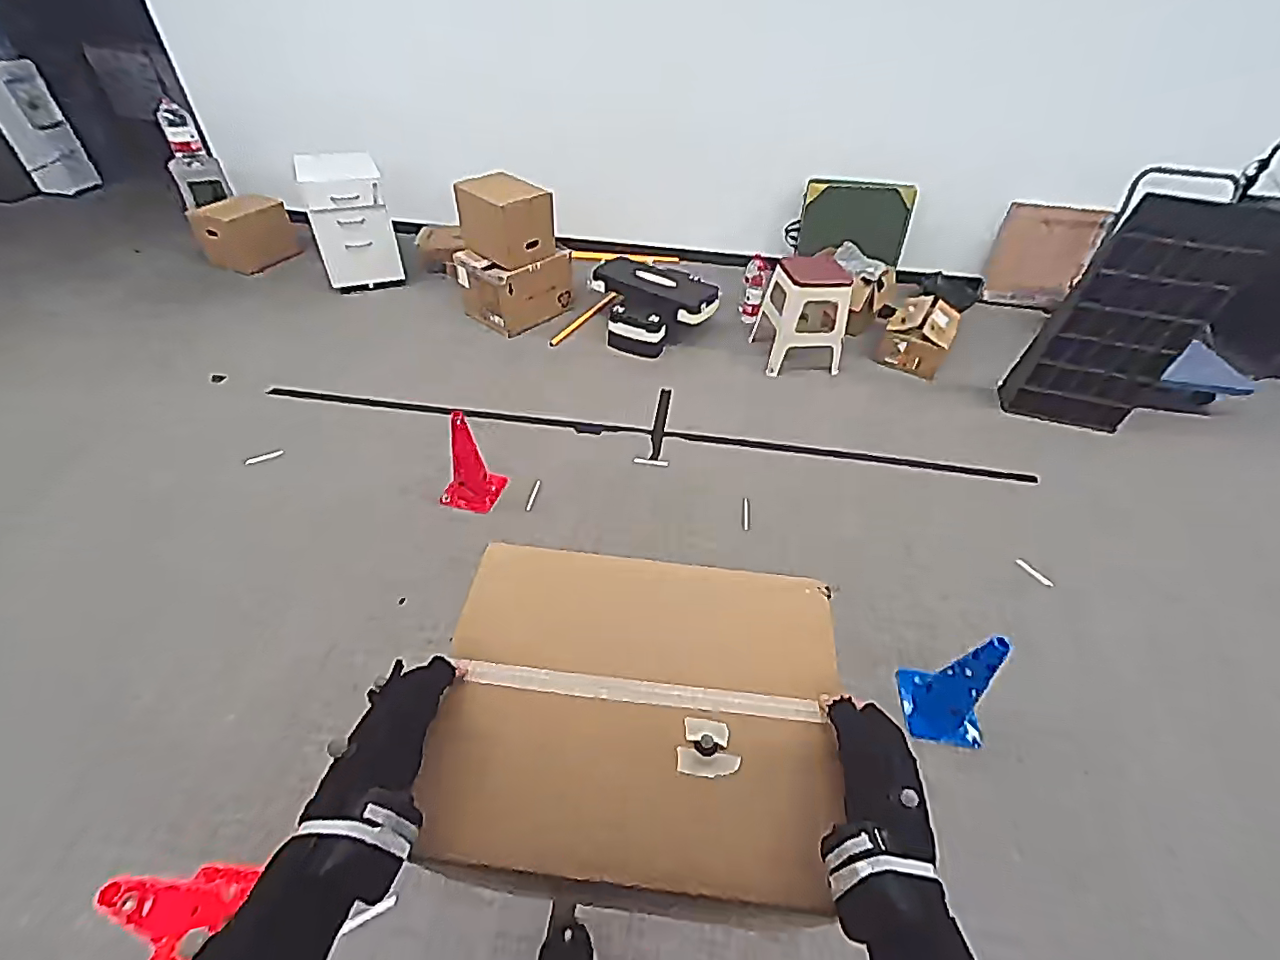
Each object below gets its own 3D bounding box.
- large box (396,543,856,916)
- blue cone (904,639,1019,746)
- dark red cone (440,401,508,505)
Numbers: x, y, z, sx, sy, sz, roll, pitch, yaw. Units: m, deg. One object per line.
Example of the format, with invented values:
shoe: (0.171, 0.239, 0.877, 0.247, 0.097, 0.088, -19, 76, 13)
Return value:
large box: (-0.008, 0.308, 0.664, 0.408, 0.320, 0.320, 7, 49, 2)
blue cone: (0.860, 0.524, 1.413, 0.192, 0.380, 0.193, 11, 44, 5)
dark red cone: (-0.605, -0.107, 1.908, 0.201, 0.394, 0.202, 13, 45, 7)
